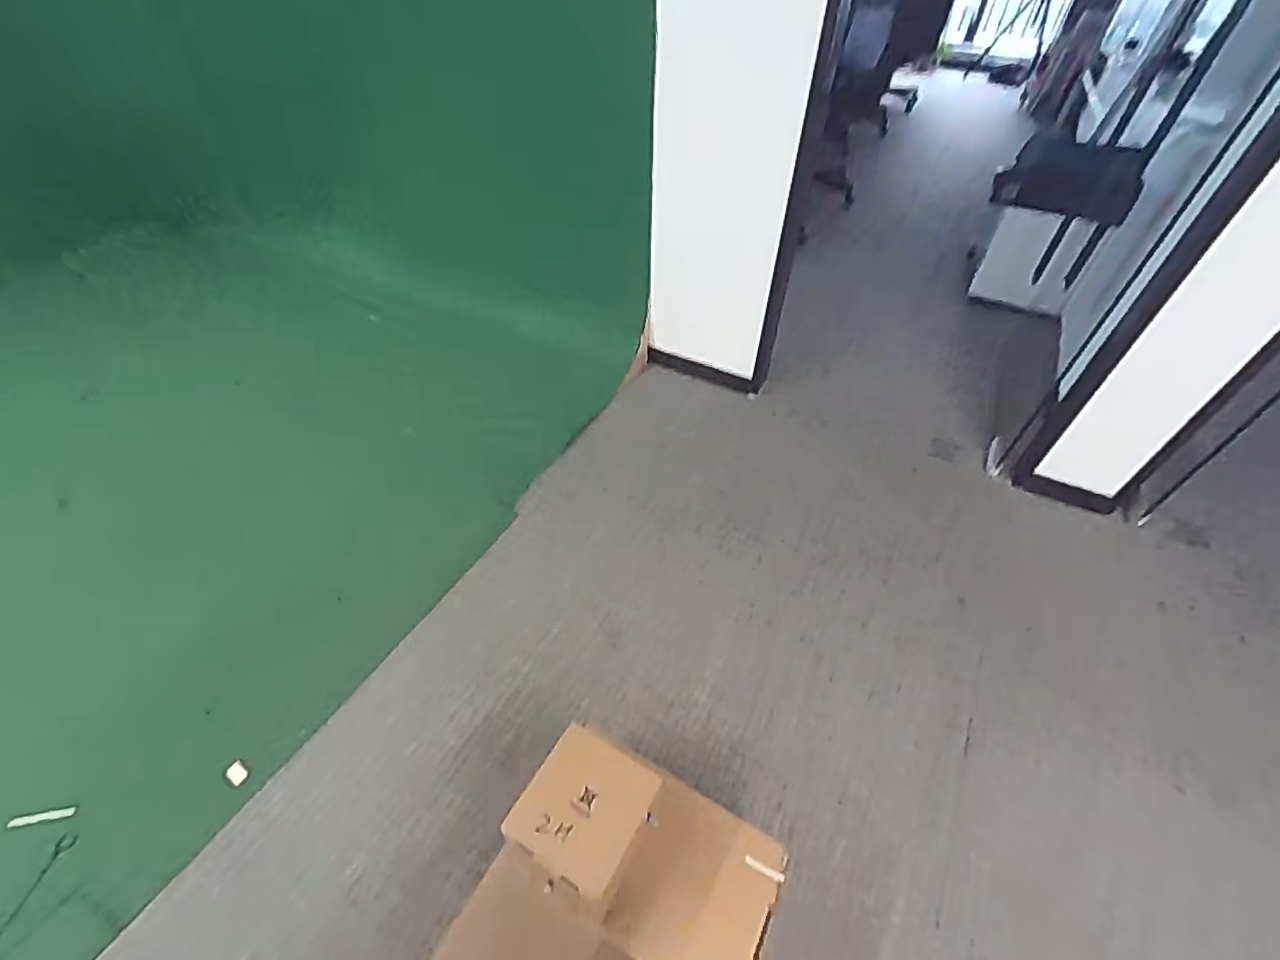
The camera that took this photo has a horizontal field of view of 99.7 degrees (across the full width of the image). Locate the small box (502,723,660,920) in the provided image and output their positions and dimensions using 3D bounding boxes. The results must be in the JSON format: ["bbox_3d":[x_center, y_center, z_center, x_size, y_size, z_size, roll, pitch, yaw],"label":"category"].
[{"bbox_3d":[-0.086,0.522,0.829,0.168,0.176,0.179,23,47,20],"label":"small box"}]
